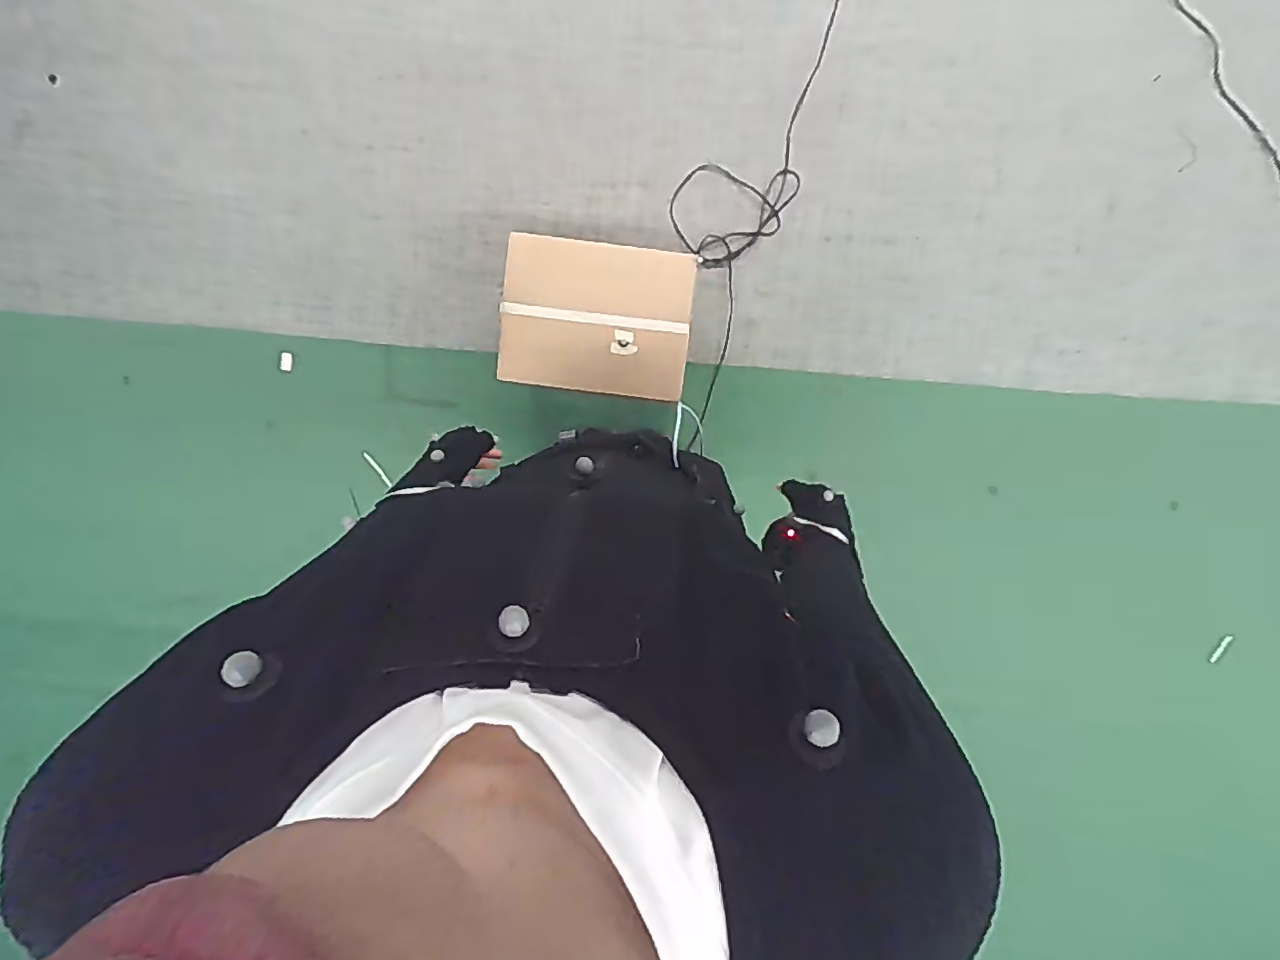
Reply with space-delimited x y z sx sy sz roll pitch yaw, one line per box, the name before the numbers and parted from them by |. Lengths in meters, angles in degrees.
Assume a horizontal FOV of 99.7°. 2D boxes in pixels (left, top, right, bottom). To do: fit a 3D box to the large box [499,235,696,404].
large box | -0.097 -0.362 1.305 0.408 0.320 0.320 7 96 -1
